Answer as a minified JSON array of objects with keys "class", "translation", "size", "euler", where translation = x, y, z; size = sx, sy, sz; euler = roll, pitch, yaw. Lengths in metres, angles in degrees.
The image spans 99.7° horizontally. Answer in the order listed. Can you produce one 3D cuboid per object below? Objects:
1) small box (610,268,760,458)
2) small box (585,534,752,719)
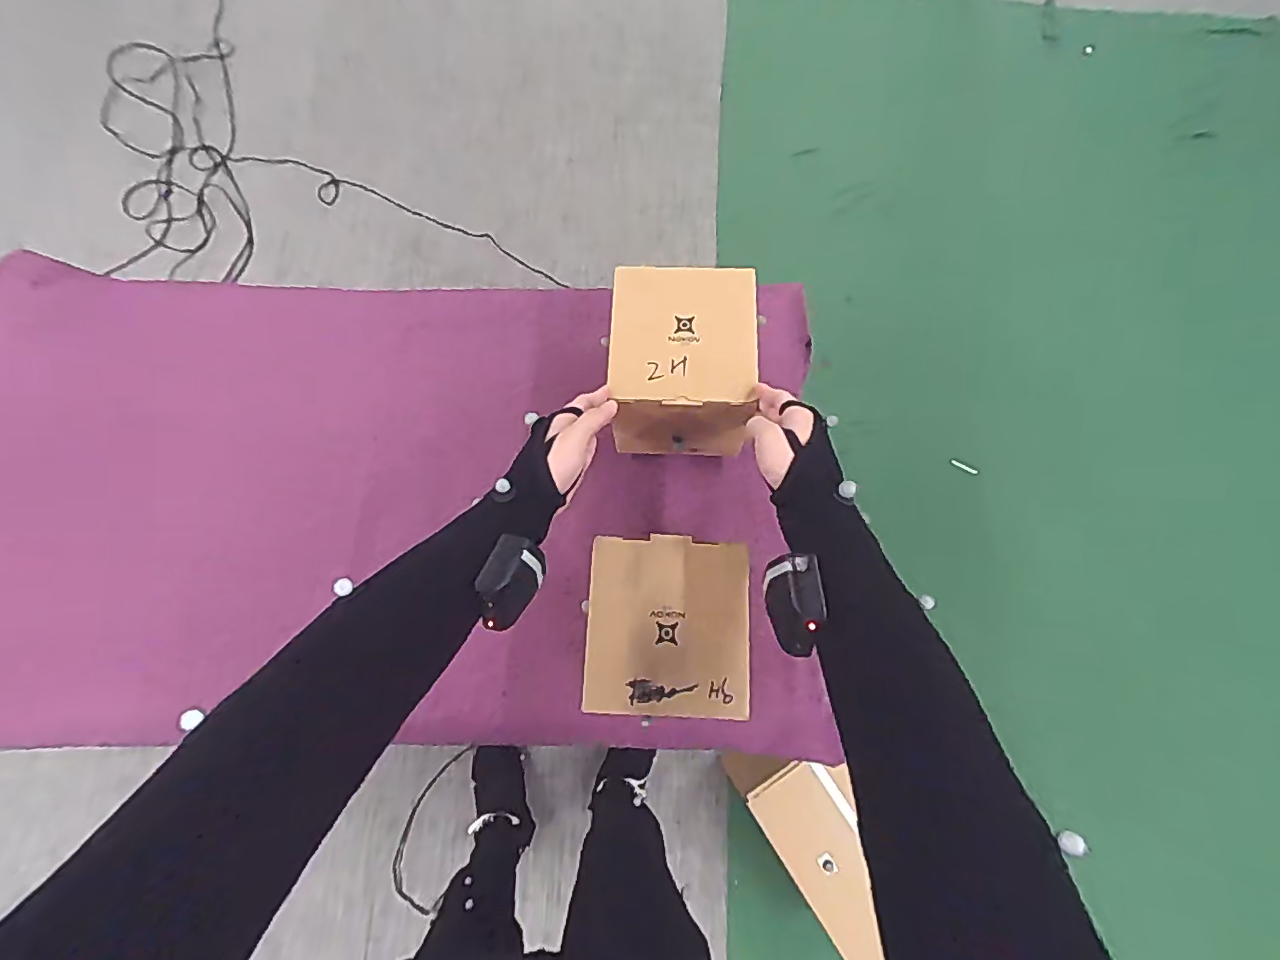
[{"class":"small box","translation":[0.055,-0.141,0.685],"size":[0.168,0.176,0.179],"euler":[2,73,3]},{"class":"small box","translation":[0.031,0.168,0.625],"size":[0.168,0.176,0.179],"euler":[3,73,1]}]
